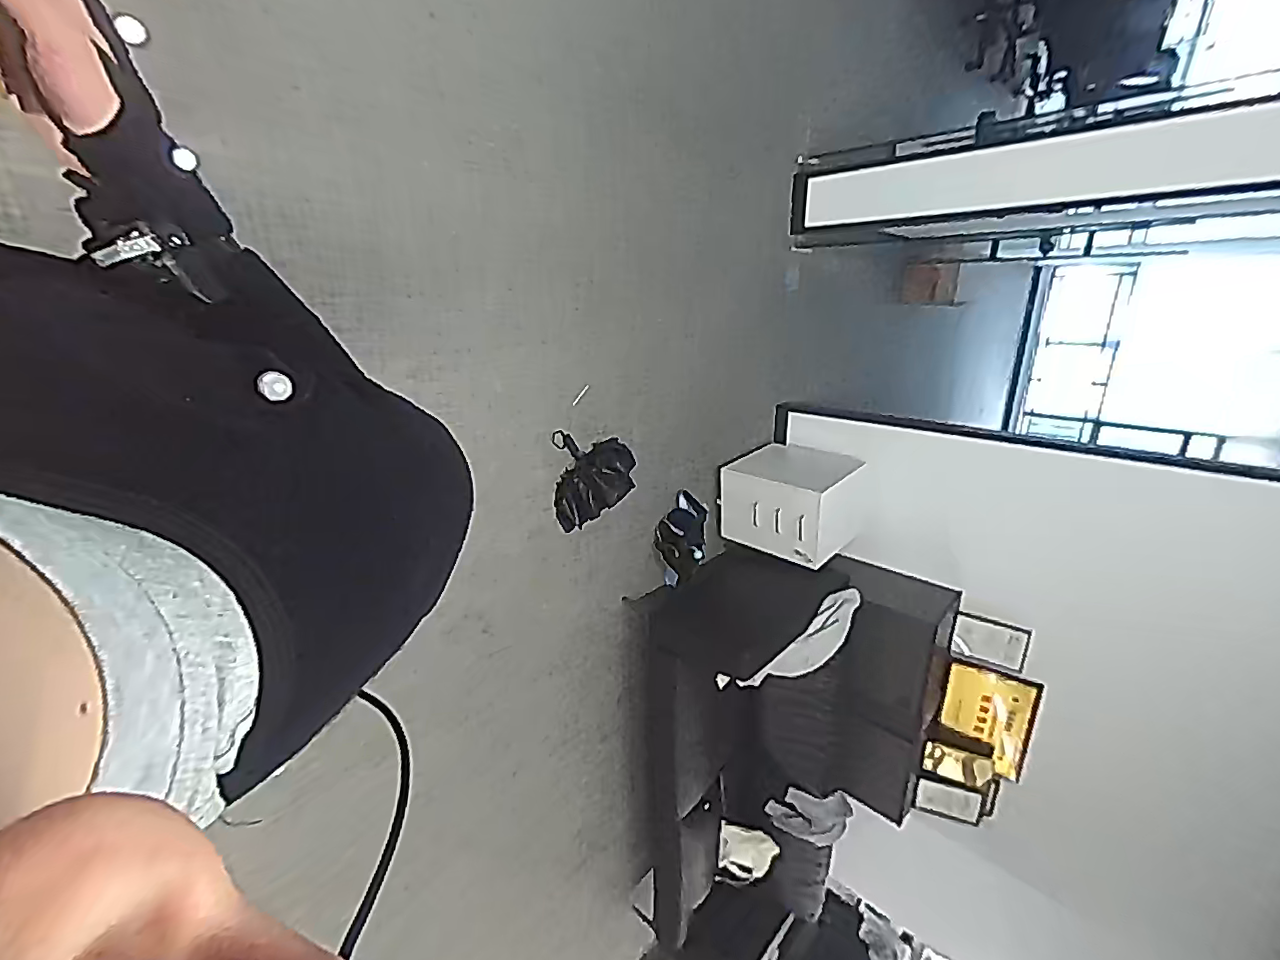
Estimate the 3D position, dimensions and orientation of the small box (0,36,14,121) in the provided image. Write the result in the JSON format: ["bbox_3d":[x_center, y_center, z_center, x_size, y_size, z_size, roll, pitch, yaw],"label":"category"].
[{"bbox_3d":[-0.391,-0.259,0.205,0.168,0.176,0.179,-15,130,-38],"label":"small box"}]
